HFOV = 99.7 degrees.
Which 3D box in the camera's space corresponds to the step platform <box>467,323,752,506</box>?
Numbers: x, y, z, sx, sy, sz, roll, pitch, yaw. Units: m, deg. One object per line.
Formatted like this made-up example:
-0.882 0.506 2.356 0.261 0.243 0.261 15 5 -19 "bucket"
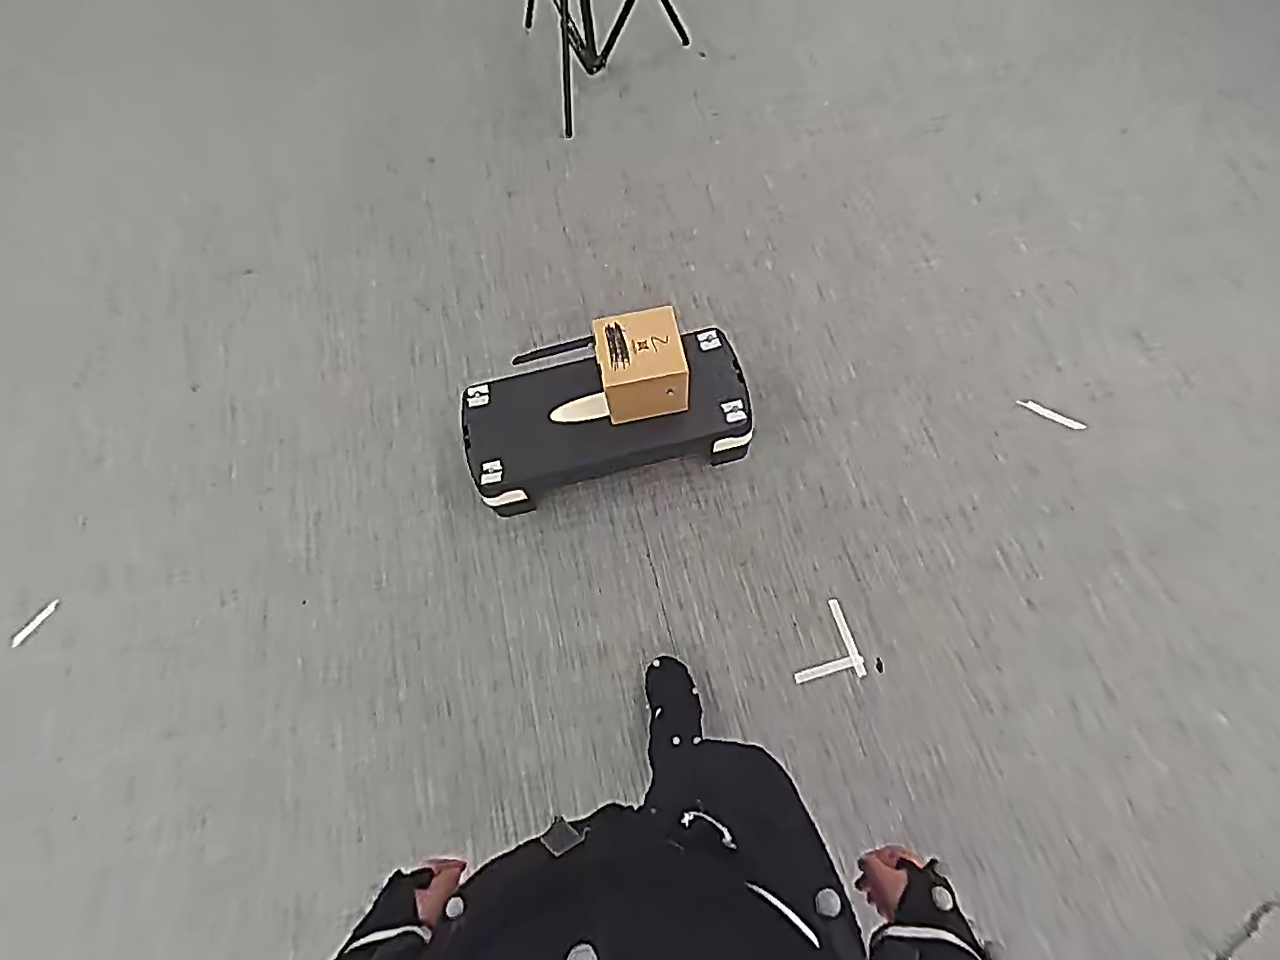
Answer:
-0.074 -0.162 1.346 0.684 0.204 0.286 -15 69 -1 "step platform"
